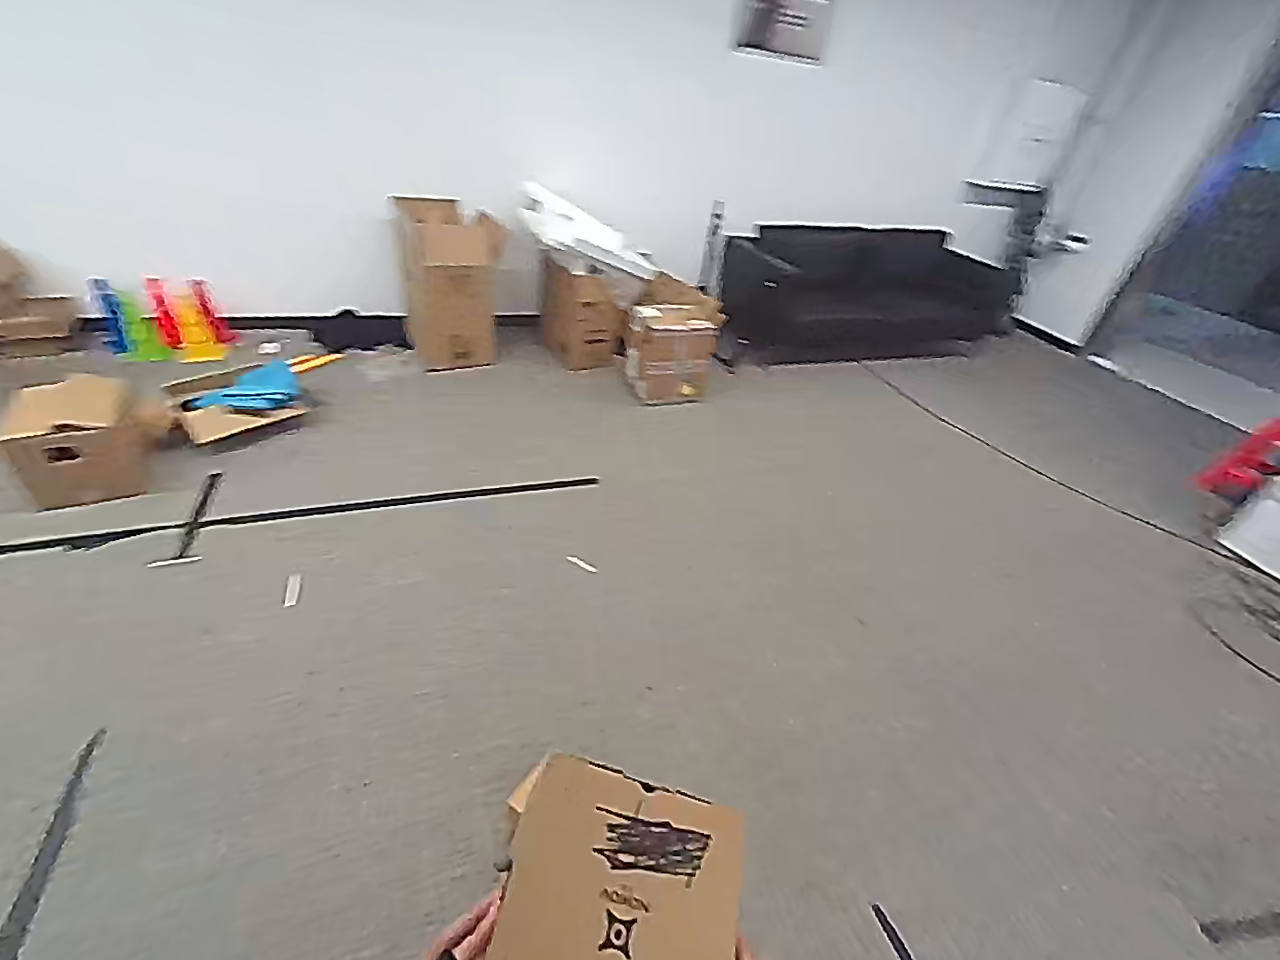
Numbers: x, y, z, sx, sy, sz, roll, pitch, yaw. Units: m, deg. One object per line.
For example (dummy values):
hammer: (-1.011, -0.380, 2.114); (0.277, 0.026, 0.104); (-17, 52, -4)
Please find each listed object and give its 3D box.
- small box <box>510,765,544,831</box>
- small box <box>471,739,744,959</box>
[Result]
small box: (-0.201, 0.832, 1.343); (0.179, 0.176, 0.168); (26, 38, 24)
small box: (-0.032, 0.339, 0.425); (0.168, 0.176, 0.179); (19, 47, -2)
